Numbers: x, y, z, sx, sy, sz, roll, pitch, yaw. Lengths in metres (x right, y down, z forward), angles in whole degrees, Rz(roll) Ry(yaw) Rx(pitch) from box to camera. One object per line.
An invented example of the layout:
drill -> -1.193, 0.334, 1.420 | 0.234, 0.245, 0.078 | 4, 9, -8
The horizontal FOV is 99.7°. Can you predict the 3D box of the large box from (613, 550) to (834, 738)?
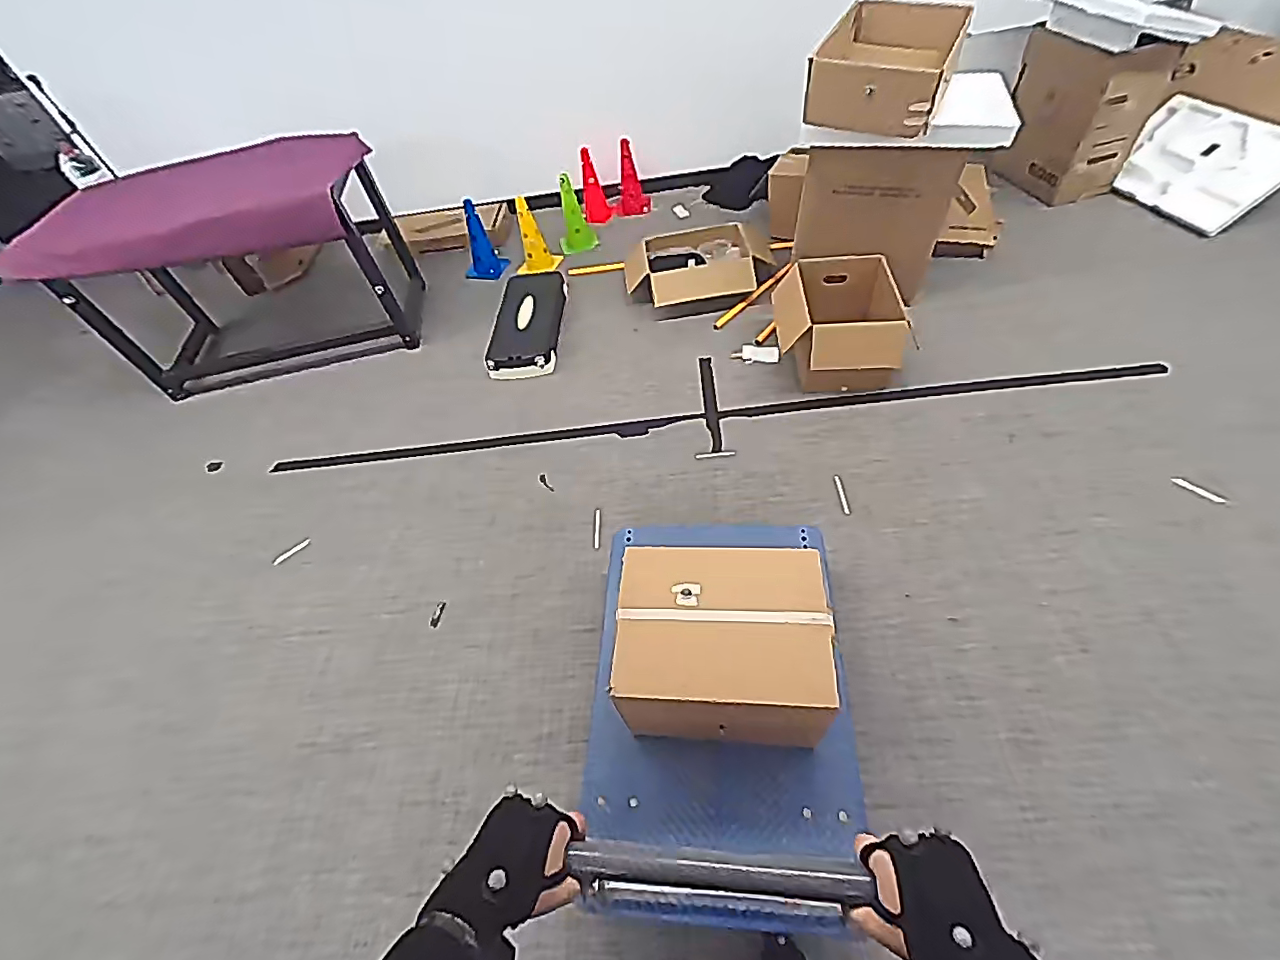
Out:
large box -> 0.176, 0.364, 1.182 | 0.408, 0.320, 0.320 | -2, 52, 9
